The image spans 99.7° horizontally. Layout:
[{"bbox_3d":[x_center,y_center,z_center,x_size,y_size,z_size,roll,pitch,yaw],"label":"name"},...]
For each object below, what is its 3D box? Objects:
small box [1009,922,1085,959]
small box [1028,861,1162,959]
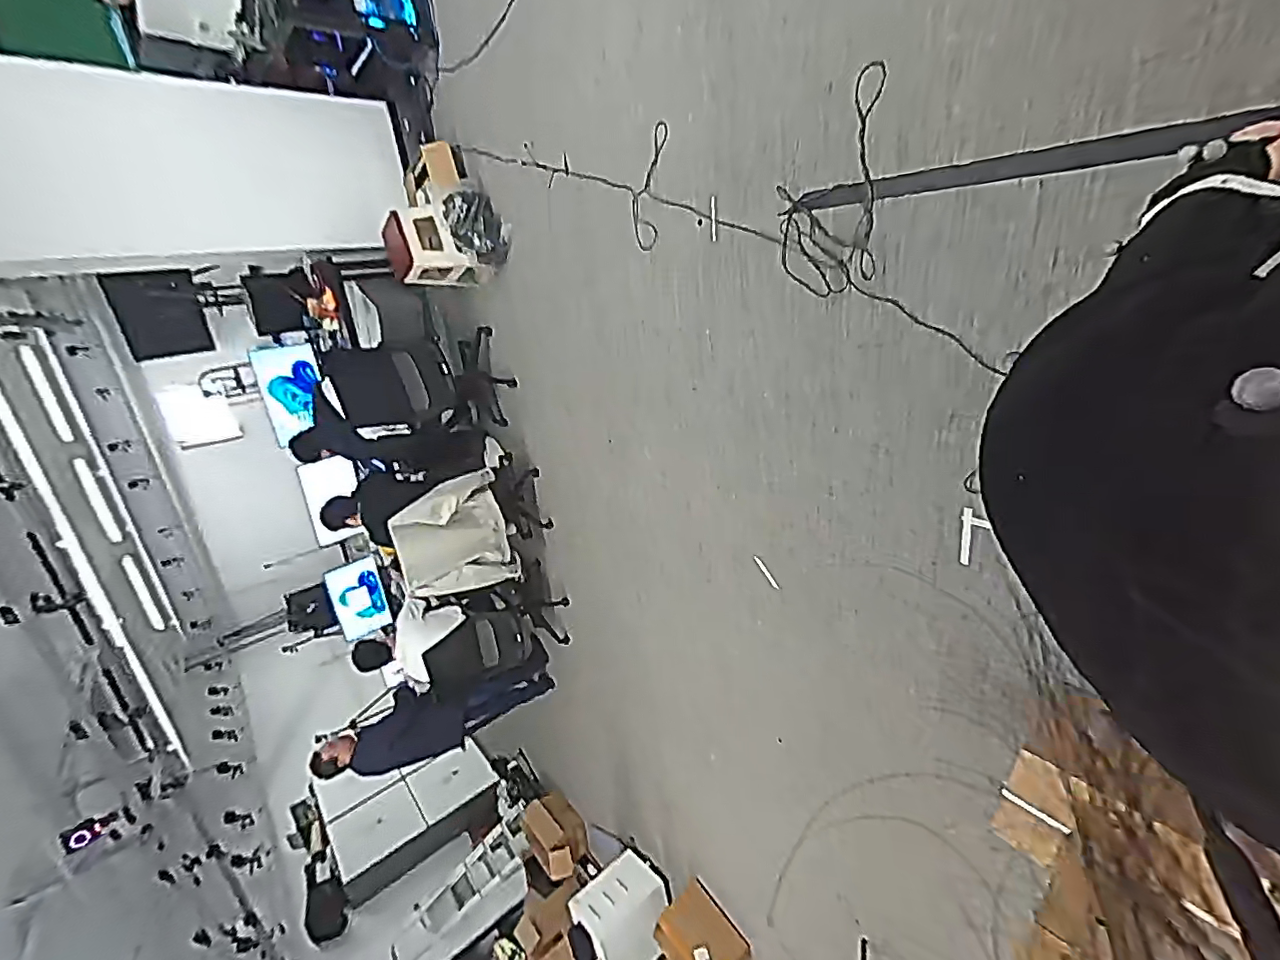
[{"bbox_3d":[0.714,0.925,0.924,0.168,0.176,0.179,22,125,45],"label":"small box"},{"bbox_3d":[0.840,0.878,1.018,0.168,0.176,0.179,25,126,44],"label":"small box"}]
